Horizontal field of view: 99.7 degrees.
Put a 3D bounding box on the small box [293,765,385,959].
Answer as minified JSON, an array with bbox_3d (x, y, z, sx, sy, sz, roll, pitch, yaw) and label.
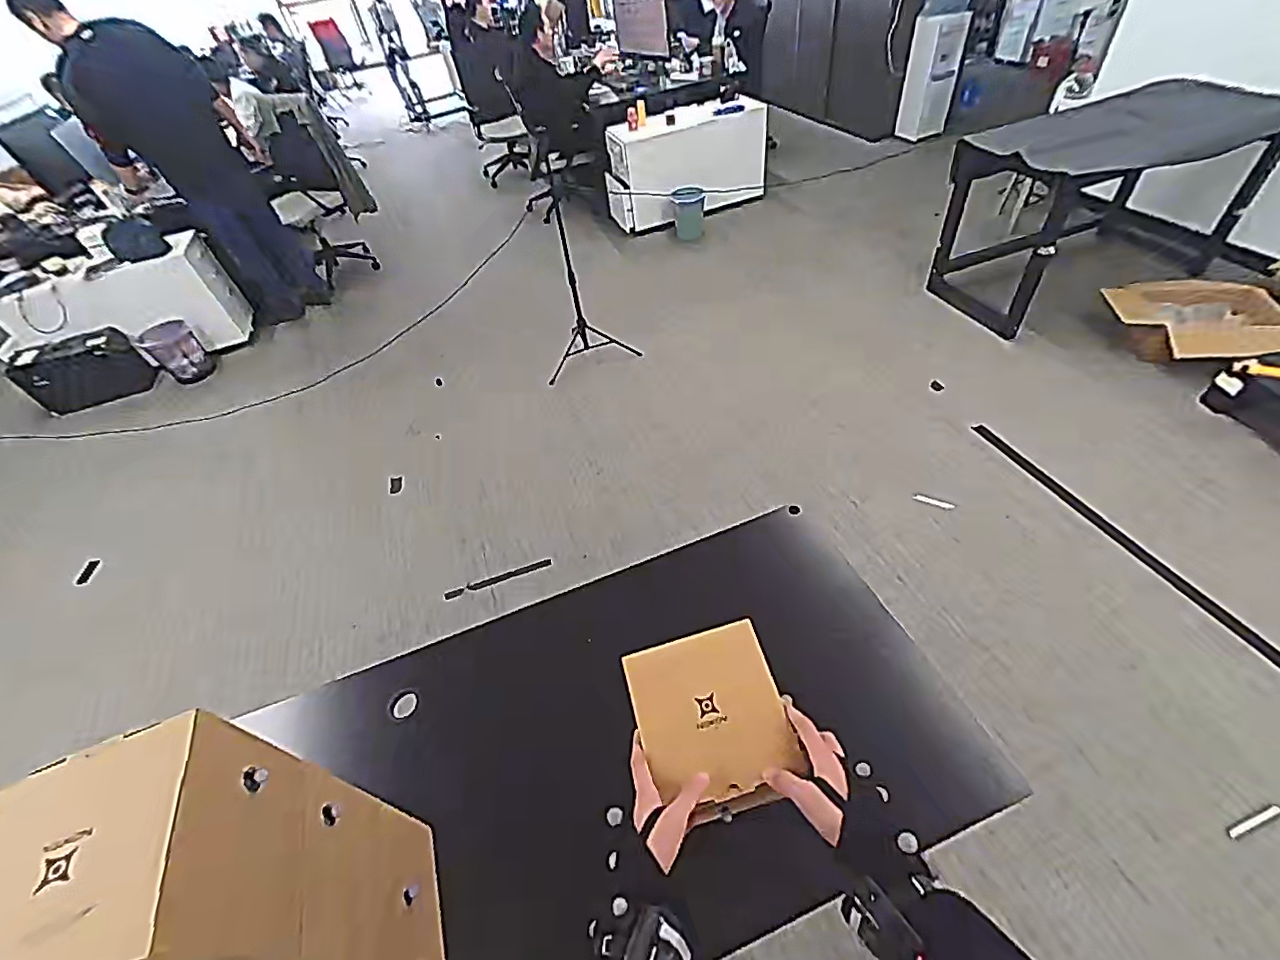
[{"bbox_3d":[-0.386,0.439,0.562,0.168,0.176,0.179,-21,48,-9],"label":"small box"}]

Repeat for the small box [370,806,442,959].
[{"bbox_3d":[-0.366,0.552,0.680,0.168,0.176,0.179,-21,48,-11],"label":"small box"}]

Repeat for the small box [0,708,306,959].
[{"bbox_3d":[-0.404,0.329,0.444,0.168,0.176,0.179,-22,48,-9],"label":"small box"}]

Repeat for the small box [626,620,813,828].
[{"bbox_3d":[0.090,0.302,0.663,0.168,0.176,0.179,-16,54,-2],"label":"small box"}]
